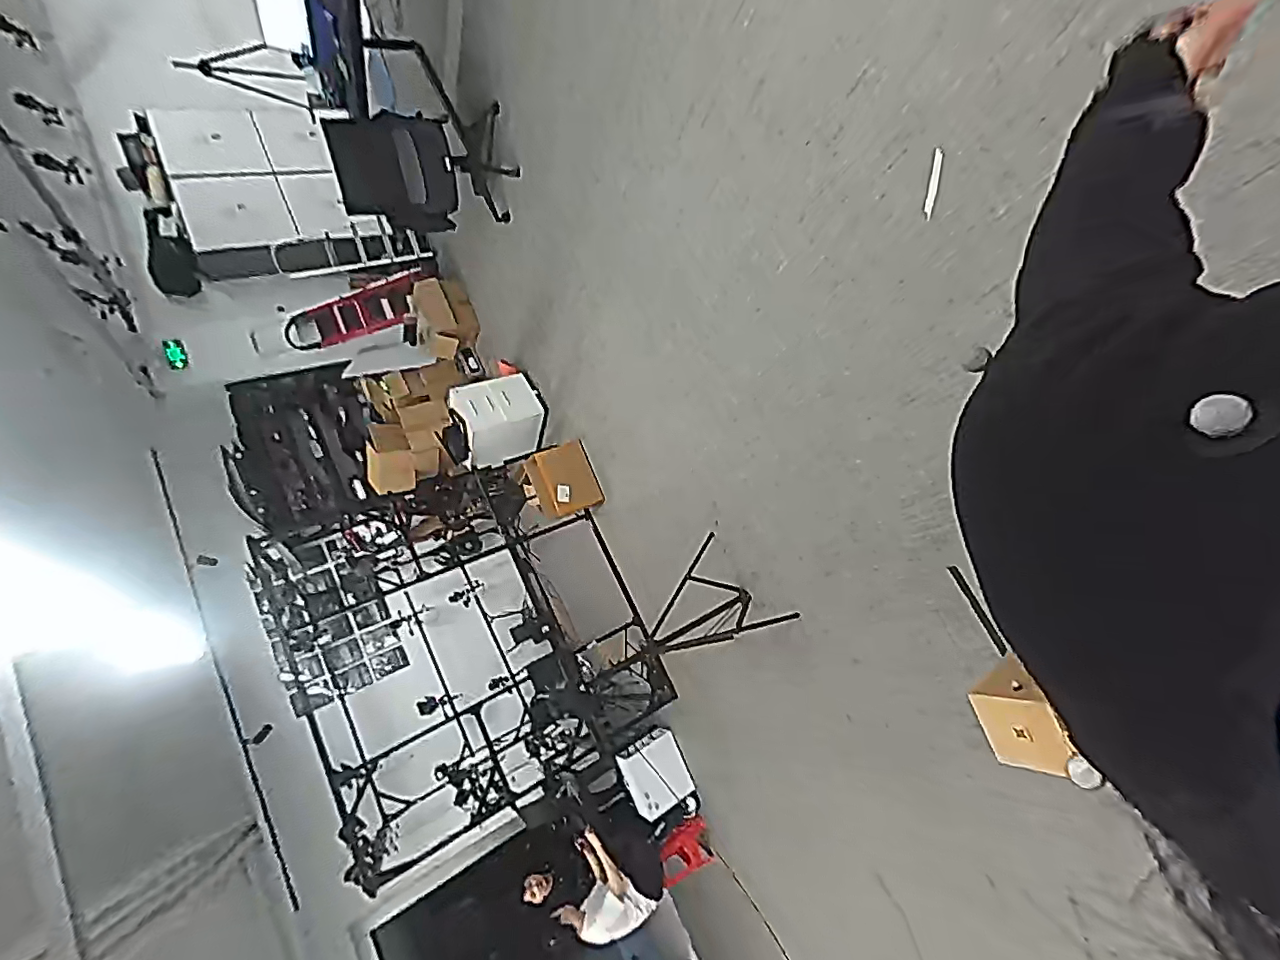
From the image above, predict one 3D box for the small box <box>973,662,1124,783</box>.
[{"bbox_3d":[0.871,0.504,1.155,0.179,0.176,0.168,-32,81,61],"label":"small box"}]
